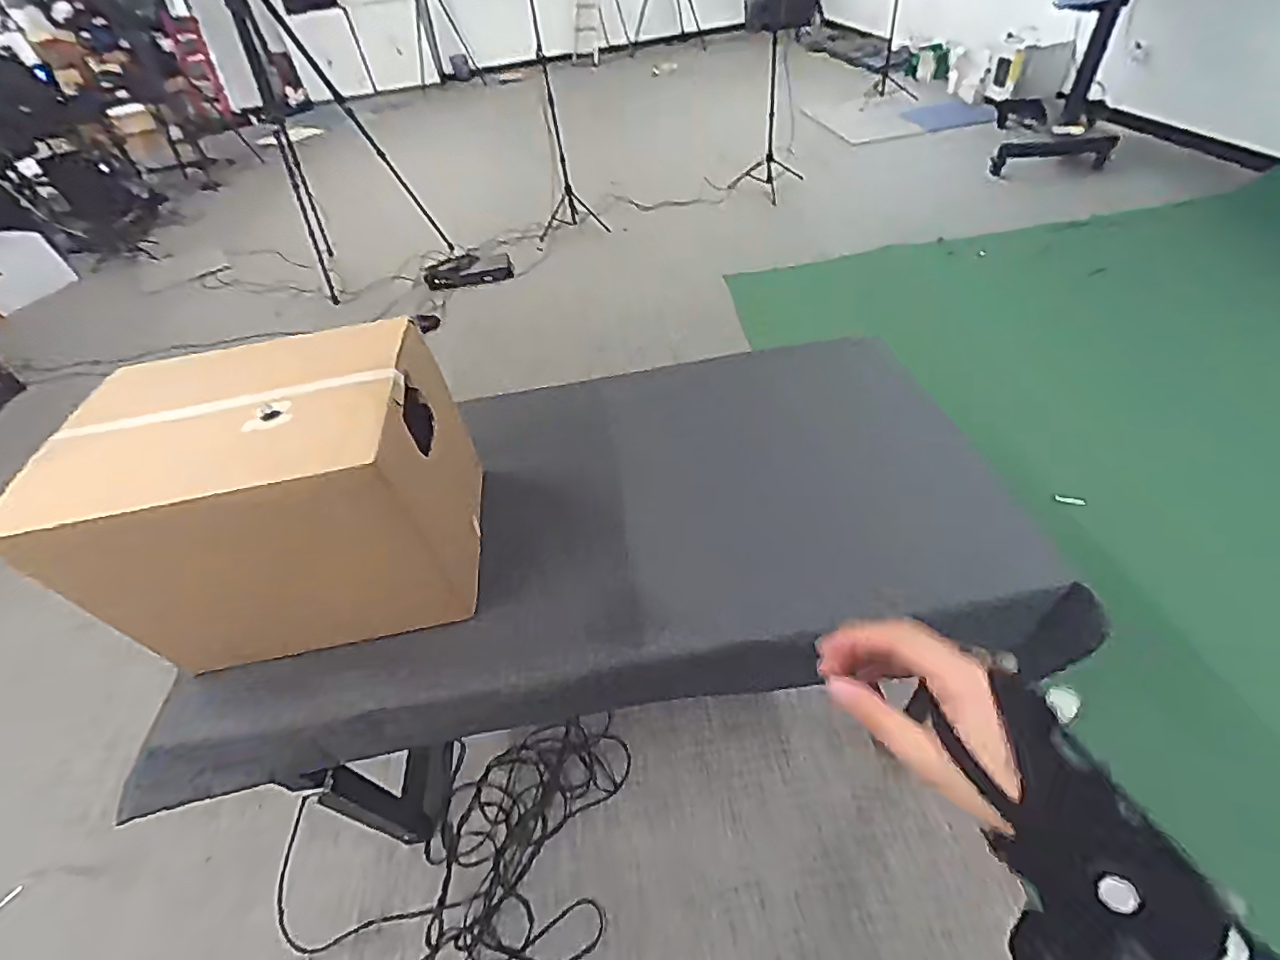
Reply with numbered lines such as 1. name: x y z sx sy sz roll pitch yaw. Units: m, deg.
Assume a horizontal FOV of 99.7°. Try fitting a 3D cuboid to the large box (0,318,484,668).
1. large box: -0.462 0.016 0.753 0.408 0.320 0.320 -11 46 -4
